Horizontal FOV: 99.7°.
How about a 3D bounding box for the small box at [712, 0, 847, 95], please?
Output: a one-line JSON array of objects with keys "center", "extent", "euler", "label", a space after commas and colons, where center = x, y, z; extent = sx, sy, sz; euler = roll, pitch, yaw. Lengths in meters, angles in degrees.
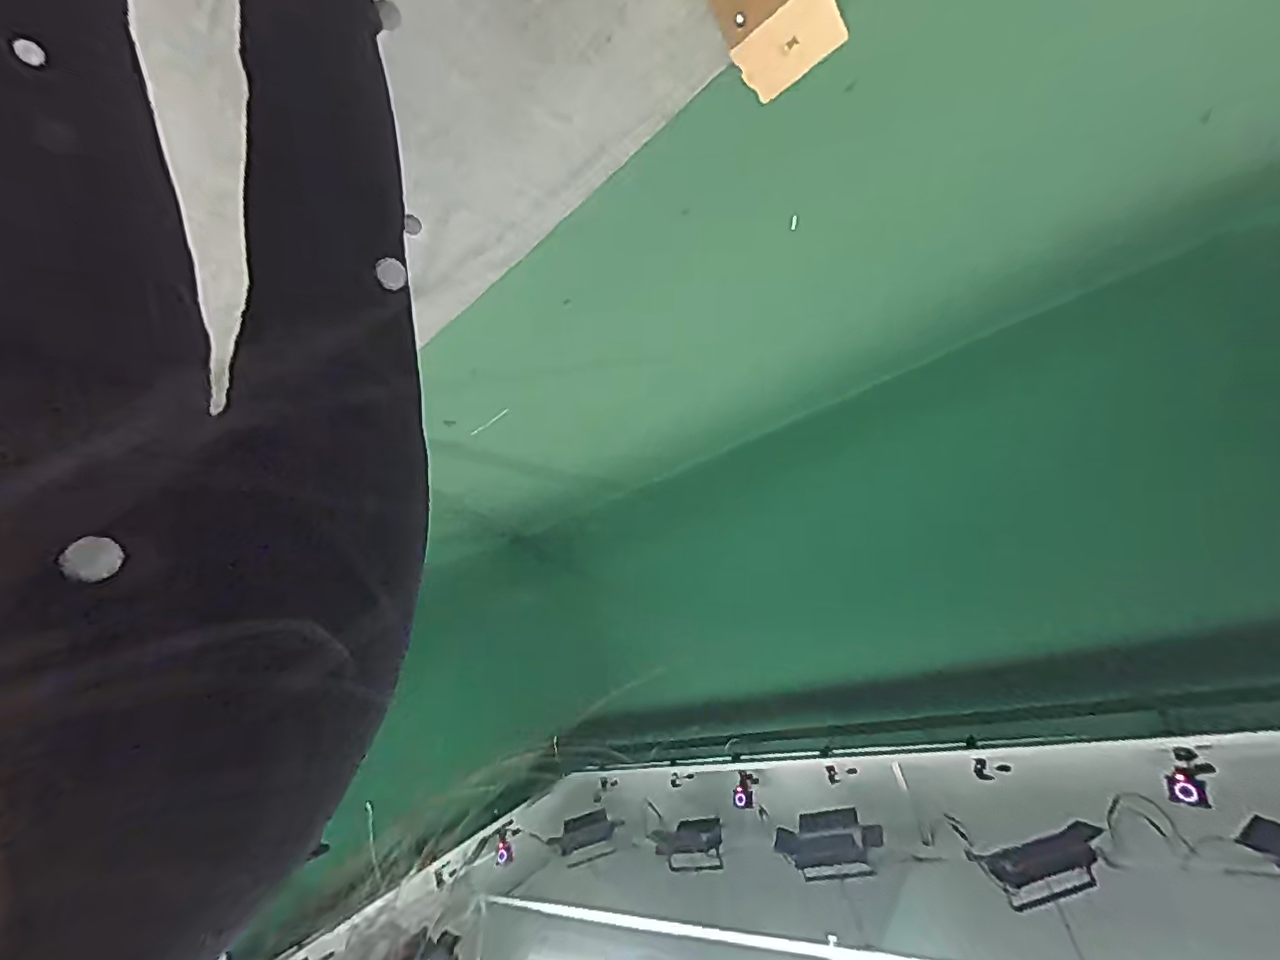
[{"center": [0.242, -0.867, 0.975], "extent": [0.179, 0.176, 0.168], "euler": [-23, 167, 33], "label": "small box"}]
